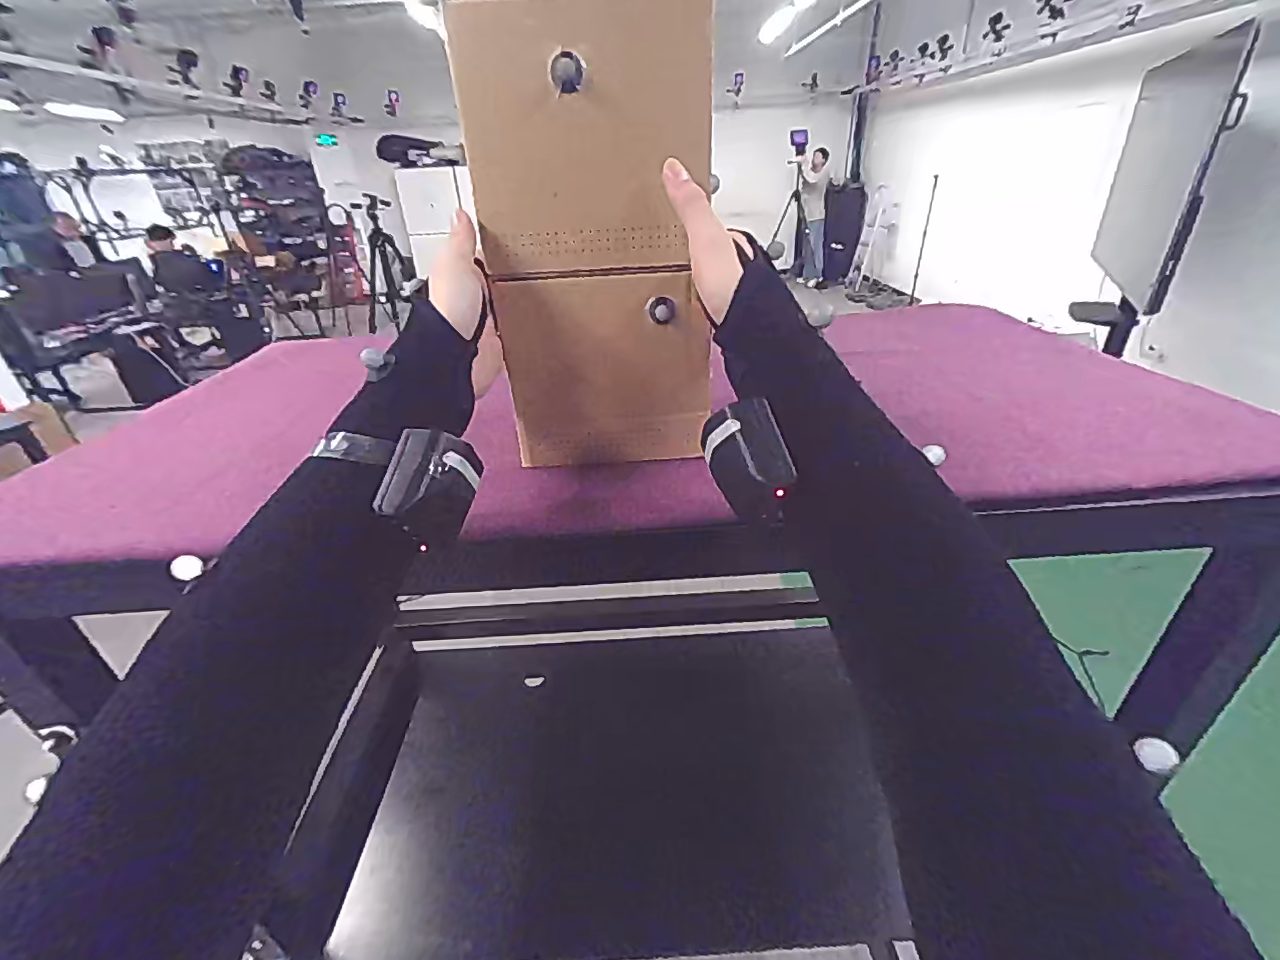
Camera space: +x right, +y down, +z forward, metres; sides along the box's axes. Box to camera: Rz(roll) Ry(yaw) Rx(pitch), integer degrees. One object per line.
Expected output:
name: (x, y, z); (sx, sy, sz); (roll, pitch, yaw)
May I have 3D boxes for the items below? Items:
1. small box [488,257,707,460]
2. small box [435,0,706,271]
small box: (-0.032, -0.126, 0.526); (0.179, 0.176, 0.168); (-3, 29, -2)
small box: (-0.040, -0.271, 0.445); (0.179, 0.176, 0.168); (-3, 29, 0)
